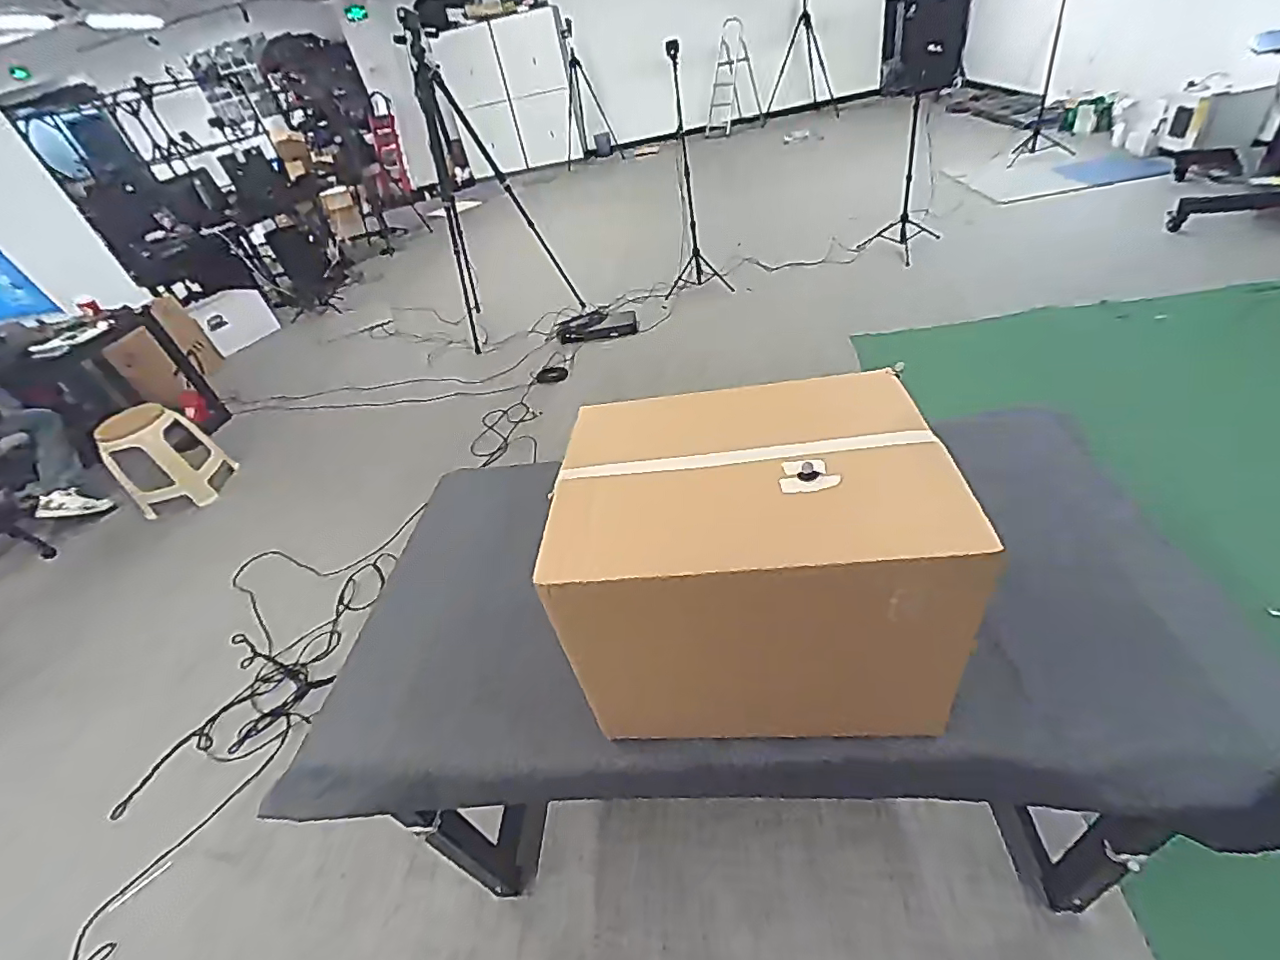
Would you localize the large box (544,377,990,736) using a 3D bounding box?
[{"bbox_3d":[0.133,0.098,0.686,0.408,0.320,0.320,-5,38,9],"label":"large box"}]
